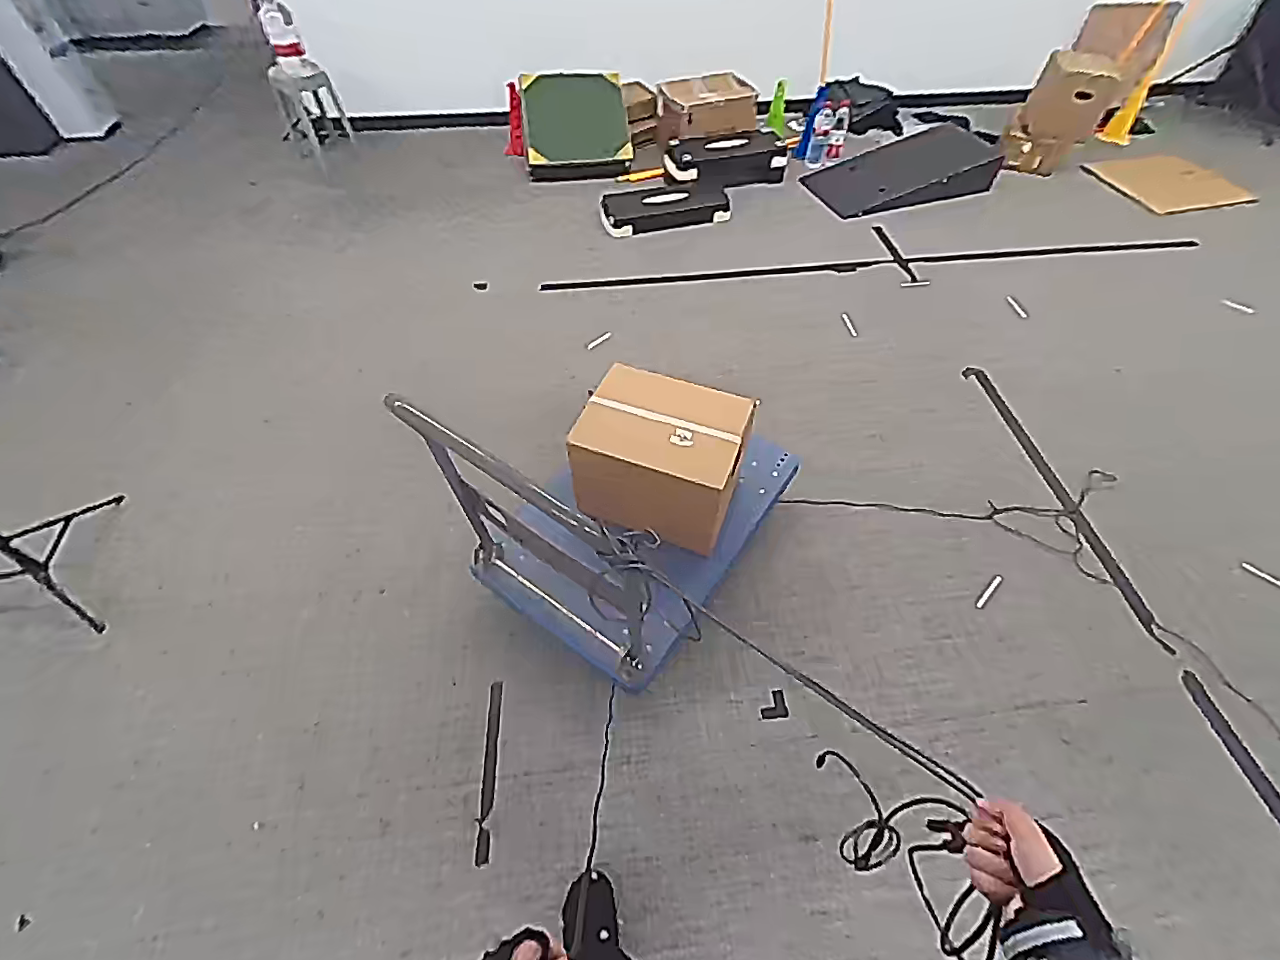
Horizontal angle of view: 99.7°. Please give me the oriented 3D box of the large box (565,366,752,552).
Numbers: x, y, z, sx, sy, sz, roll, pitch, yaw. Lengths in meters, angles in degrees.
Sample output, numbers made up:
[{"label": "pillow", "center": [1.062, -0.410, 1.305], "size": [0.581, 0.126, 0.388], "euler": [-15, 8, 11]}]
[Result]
[{"label": "large box", "center": [0.050, -0.057, 1.474], "size": [0.408, 0.320, 0.320], "euler": [17, 56, 12]}]
